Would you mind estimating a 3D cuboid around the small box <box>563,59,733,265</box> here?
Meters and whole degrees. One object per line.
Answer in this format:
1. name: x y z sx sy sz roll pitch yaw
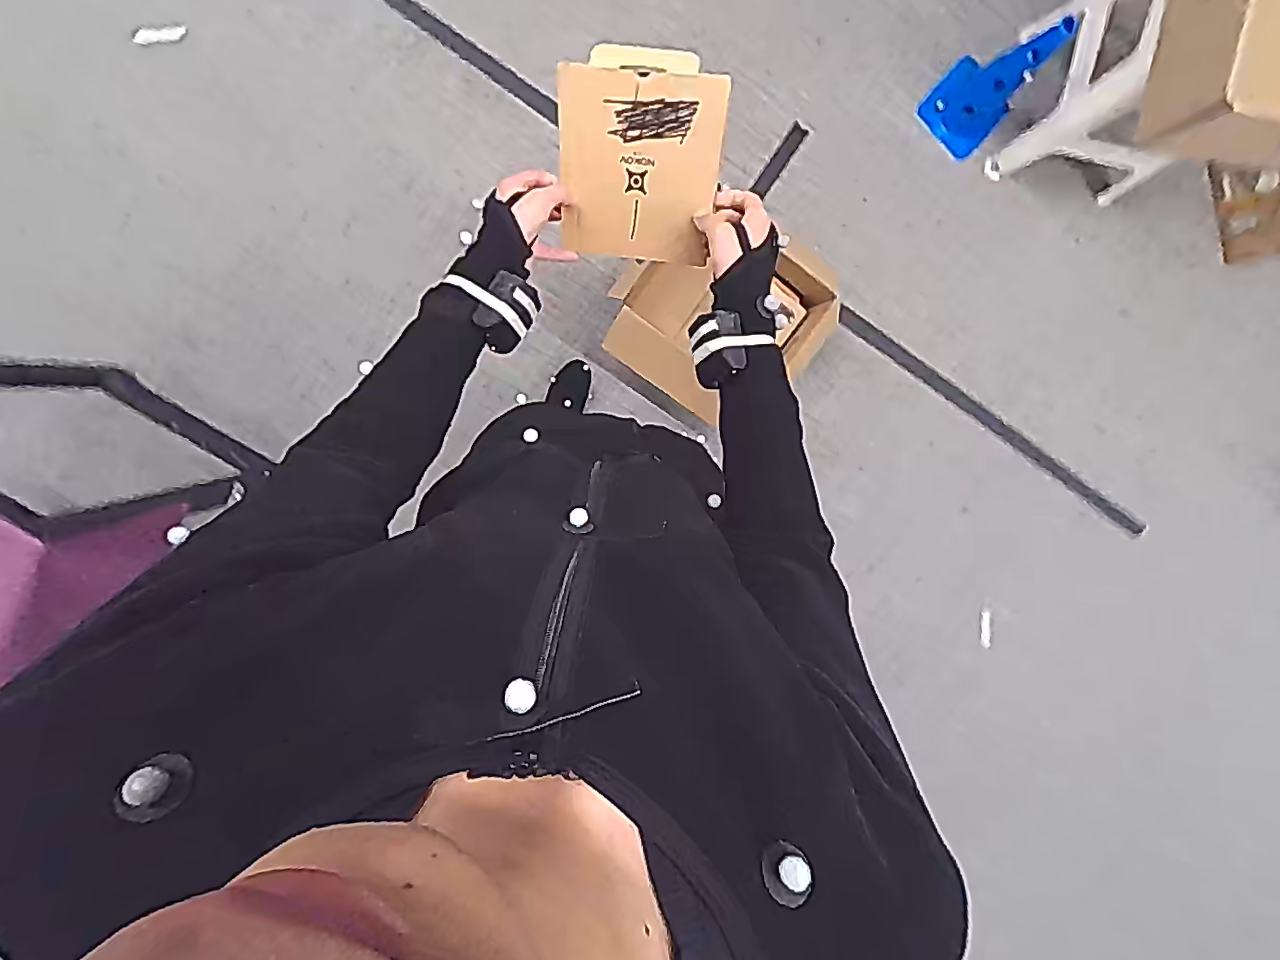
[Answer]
1. small box: 0.010 -0.366 0.640 0.168 0.176 0.179 8 120 4
